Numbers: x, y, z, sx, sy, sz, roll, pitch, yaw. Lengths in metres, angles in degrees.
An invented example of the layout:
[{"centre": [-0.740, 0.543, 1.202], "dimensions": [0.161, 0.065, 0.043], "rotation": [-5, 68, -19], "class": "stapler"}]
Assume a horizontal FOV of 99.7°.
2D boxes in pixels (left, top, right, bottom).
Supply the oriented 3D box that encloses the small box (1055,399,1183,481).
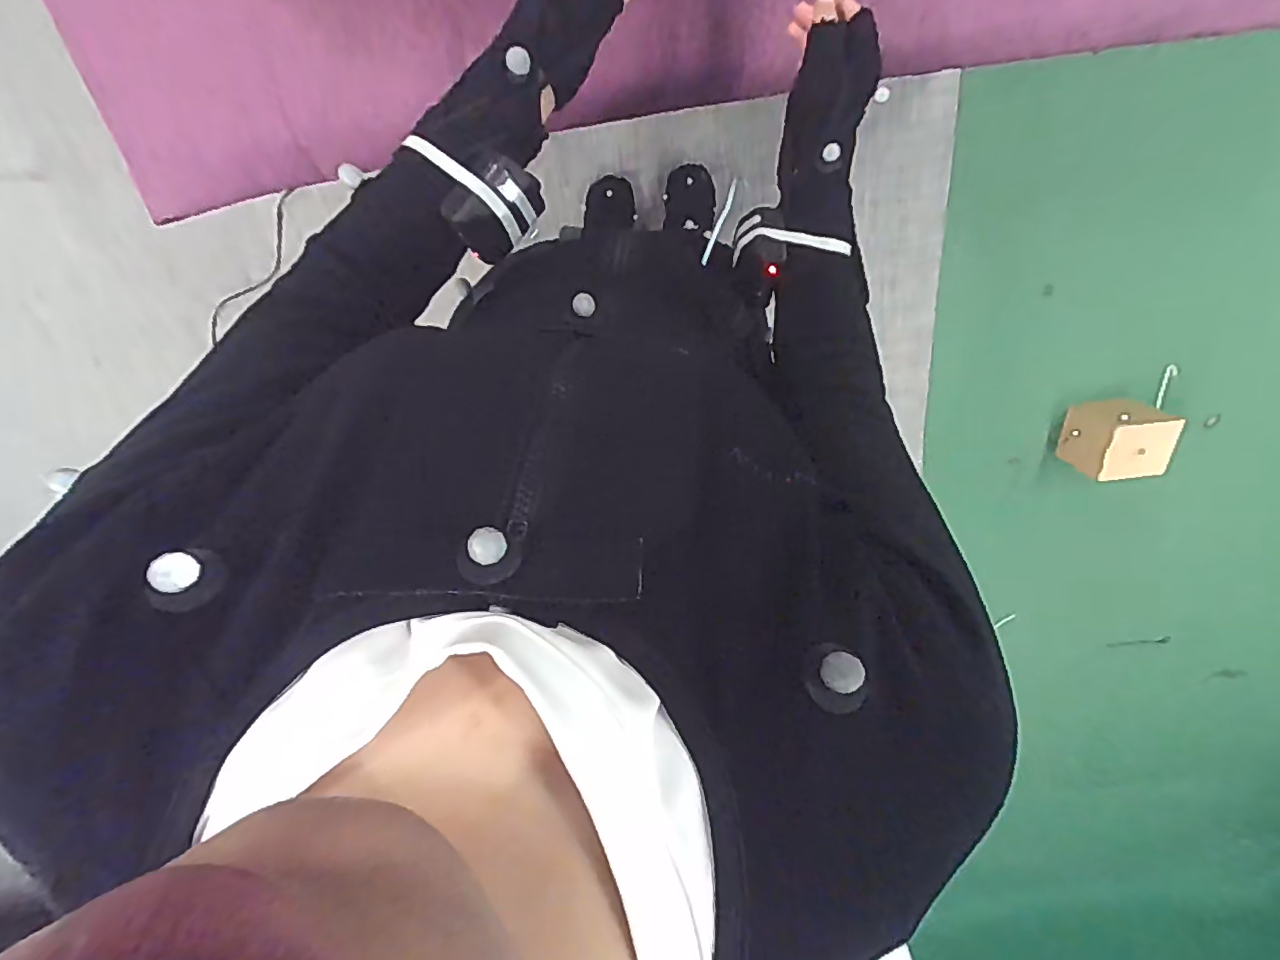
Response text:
[{"centre": [1.310, -0.115, 1.493], "dimensions": [0.179, 0.176, 0.168], "rotation": [-6, 120, 3], "class": "small box"}]
